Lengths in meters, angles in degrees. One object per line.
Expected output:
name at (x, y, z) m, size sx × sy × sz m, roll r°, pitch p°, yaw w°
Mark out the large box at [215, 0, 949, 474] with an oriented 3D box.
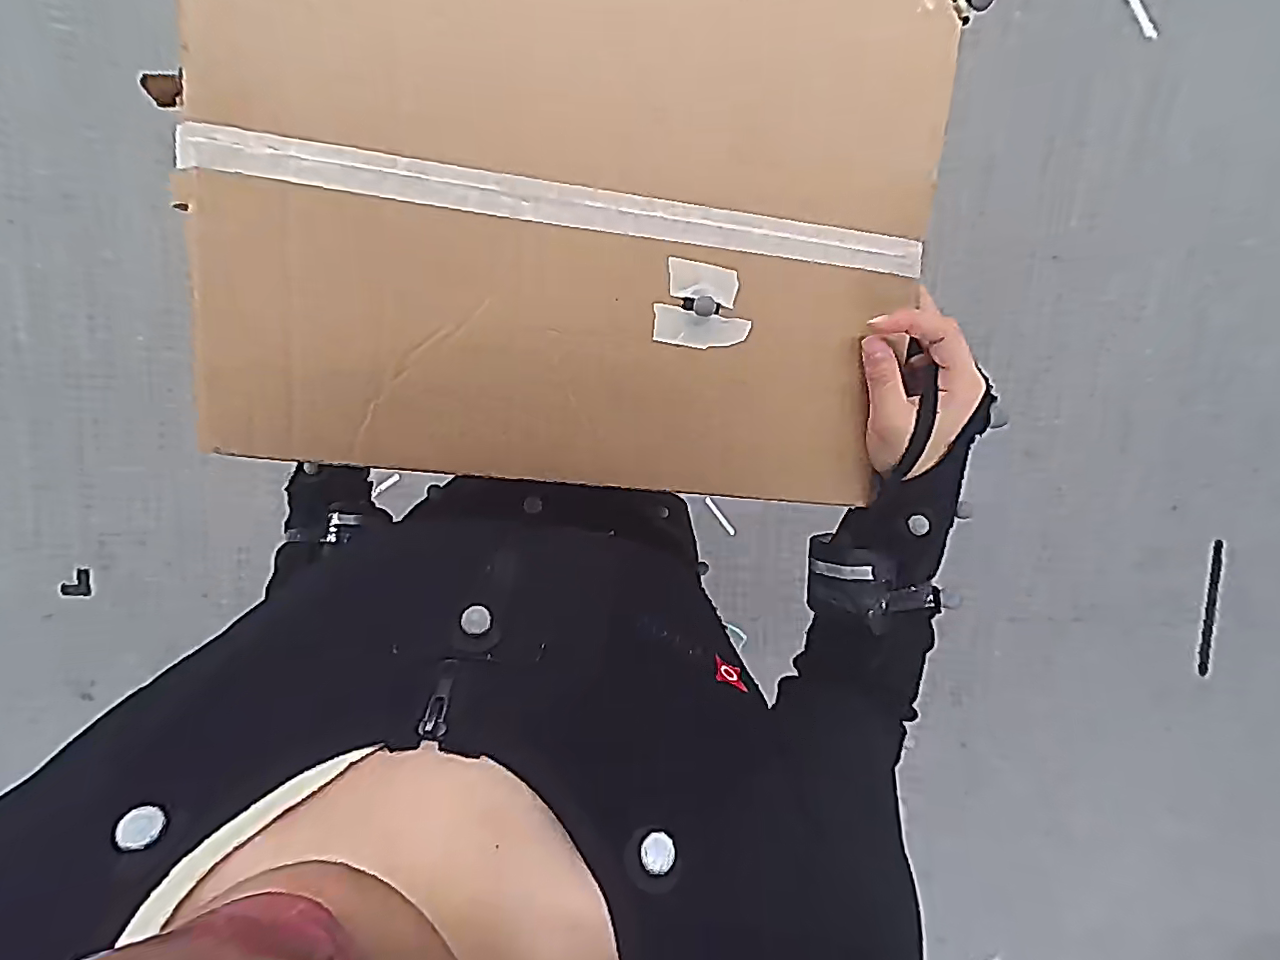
large box at (-0.048, -0.191, 0.455) m, size 0.408 × 0.320 × 0.320 m, roll 4°, pitch 101°, yaw -11°
